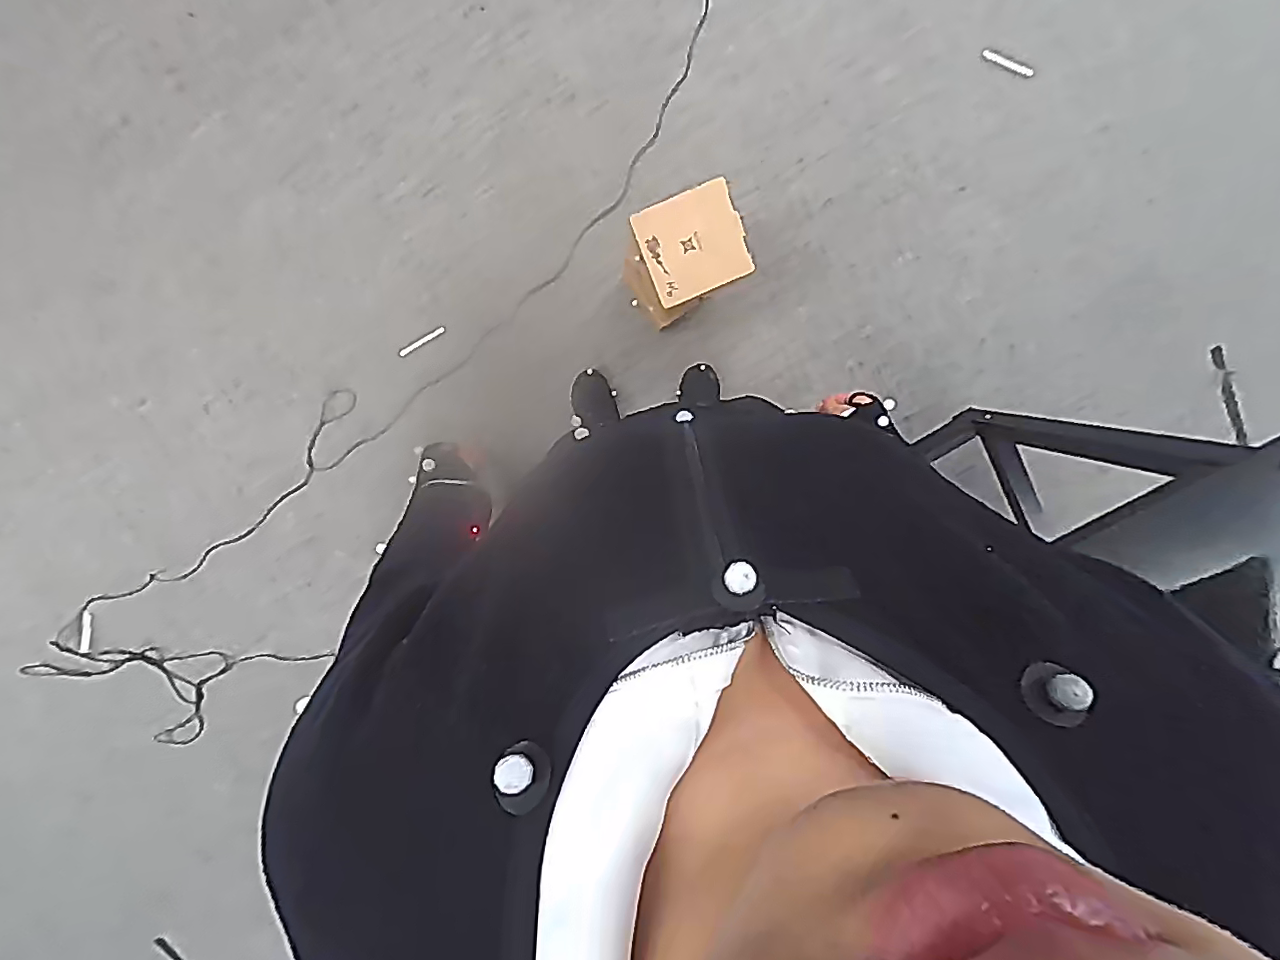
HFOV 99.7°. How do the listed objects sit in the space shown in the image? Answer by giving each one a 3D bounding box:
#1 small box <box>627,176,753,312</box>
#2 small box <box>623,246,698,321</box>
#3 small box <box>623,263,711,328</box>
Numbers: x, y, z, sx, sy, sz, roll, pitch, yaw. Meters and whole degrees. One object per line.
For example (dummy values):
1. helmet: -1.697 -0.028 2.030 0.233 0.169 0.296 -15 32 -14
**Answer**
1. small box: 0.086 -0.427 1.008 0.179 0.176 0.168 -23 102 2
2. small box: 0.078 -0.464 1.168 0.179 0.176 0.168 -37 102 4
3. small box: 0.070 -0.492 1.328 0.179 0.176 0.168 -33 101 6
